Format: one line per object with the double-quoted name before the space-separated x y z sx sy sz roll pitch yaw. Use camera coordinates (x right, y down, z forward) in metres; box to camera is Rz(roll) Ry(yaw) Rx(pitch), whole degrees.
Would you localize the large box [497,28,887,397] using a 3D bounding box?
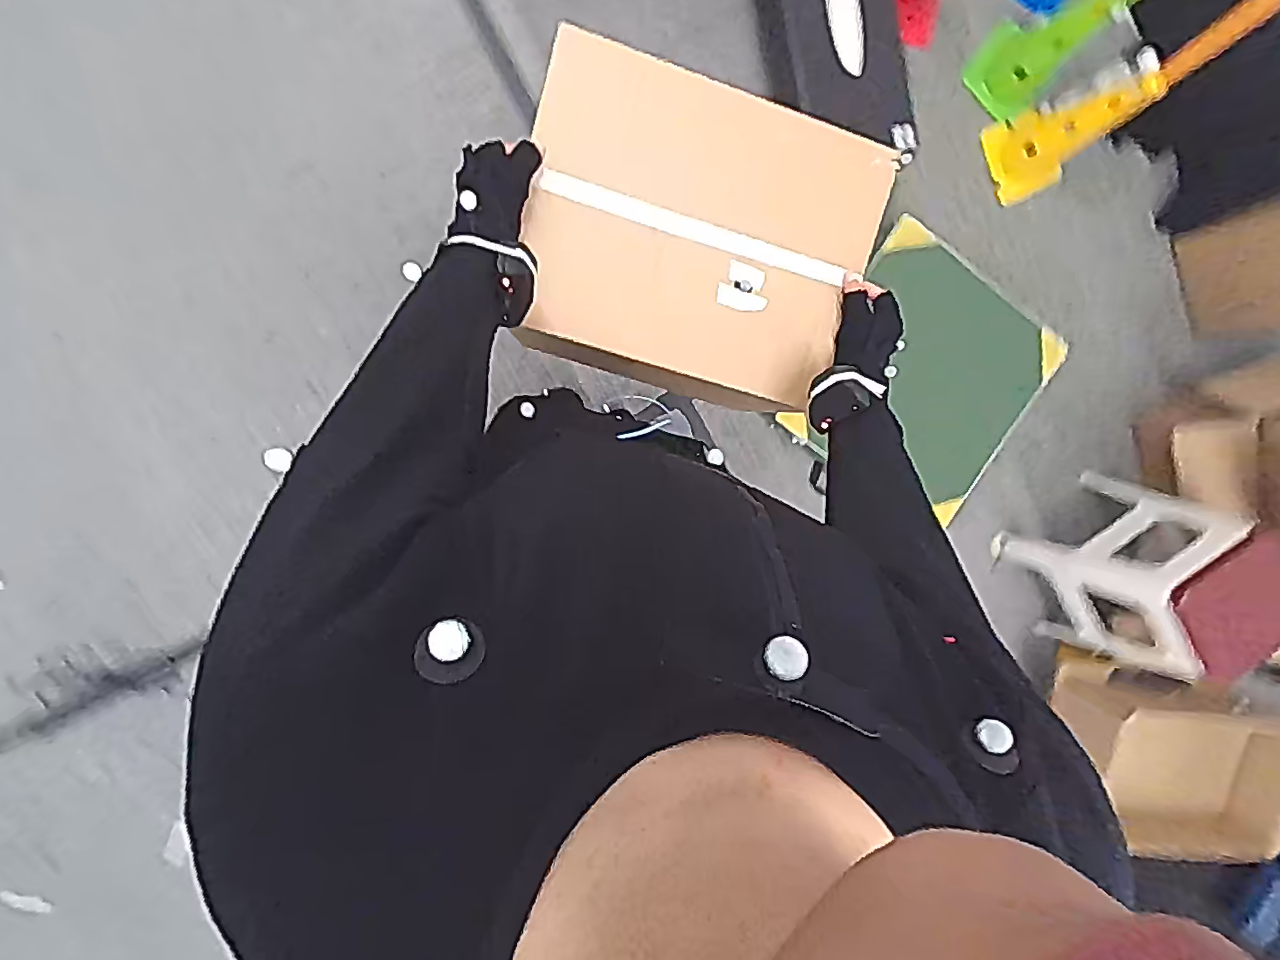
"large box" 0.045 -0.315 0.766 0.408 0.320 0.320 14 97 -9
